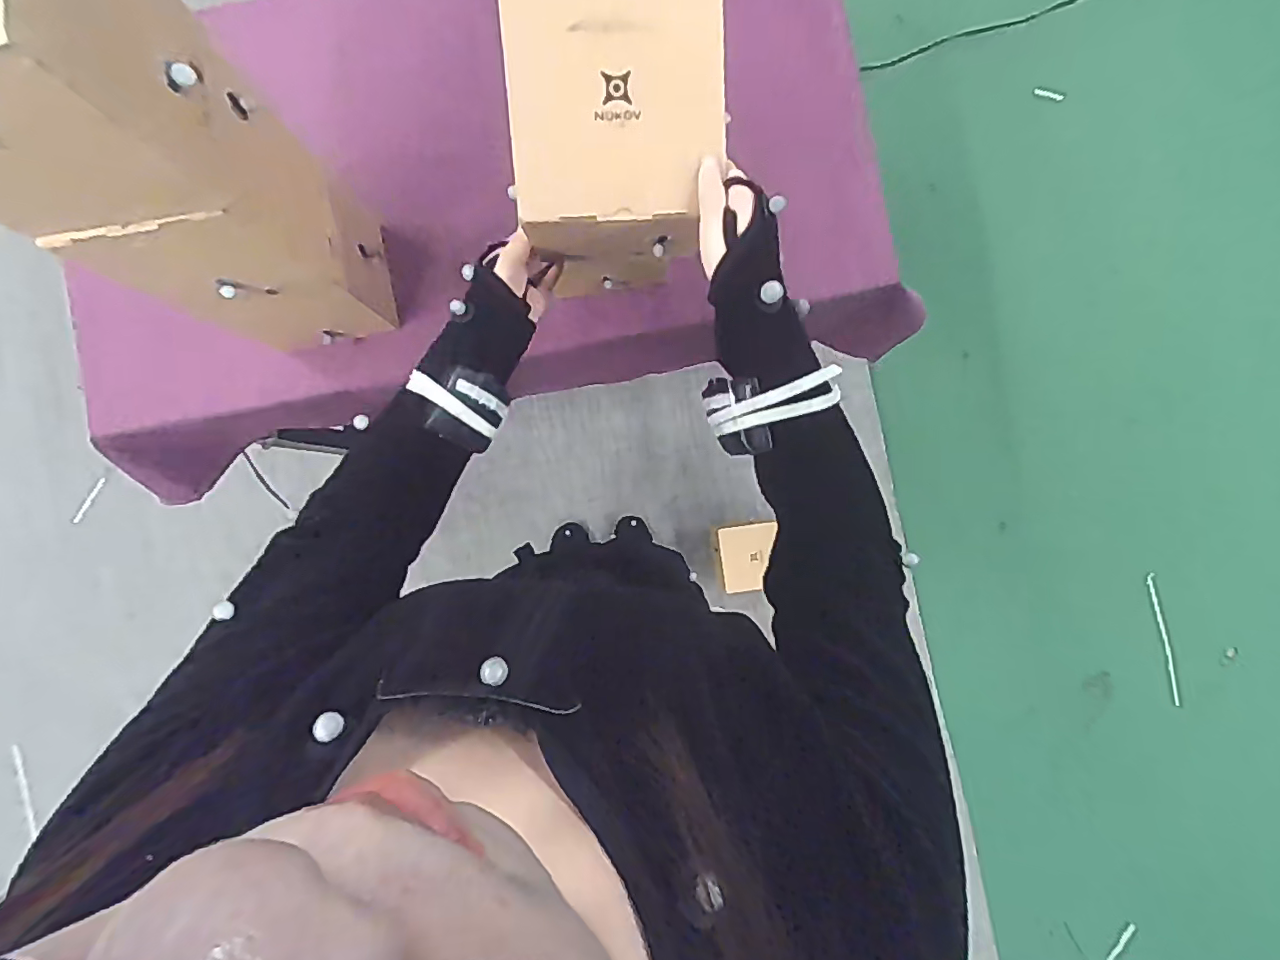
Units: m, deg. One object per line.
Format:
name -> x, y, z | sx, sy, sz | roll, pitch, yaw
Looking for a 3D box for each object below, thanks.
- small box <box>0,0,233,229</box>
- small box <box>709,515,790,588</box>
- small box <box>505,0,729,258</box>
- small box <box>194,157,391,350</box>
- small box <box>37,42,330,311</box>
small box -> -0.443, -0.303, 0.385 | 0.179, 0.176, 0.168 | -9, 88, -2
small box -> 0.283, 0.186, 1.443 | 0.179, 0.176, 0.168 | -8, 89, -2
small box -> -0.019, -0.302, 0.486 | 0.168, 0.176, 0.179 | -3, 103, -4
small box -> -0.452, -0.285, 0.715 | 0.179, 0.176, 0.168 | -12, 88, -2
small box -> -0.450, -0.296, 0.549 | 0.168, 0.176, 0.179 | -11, 89, 0
